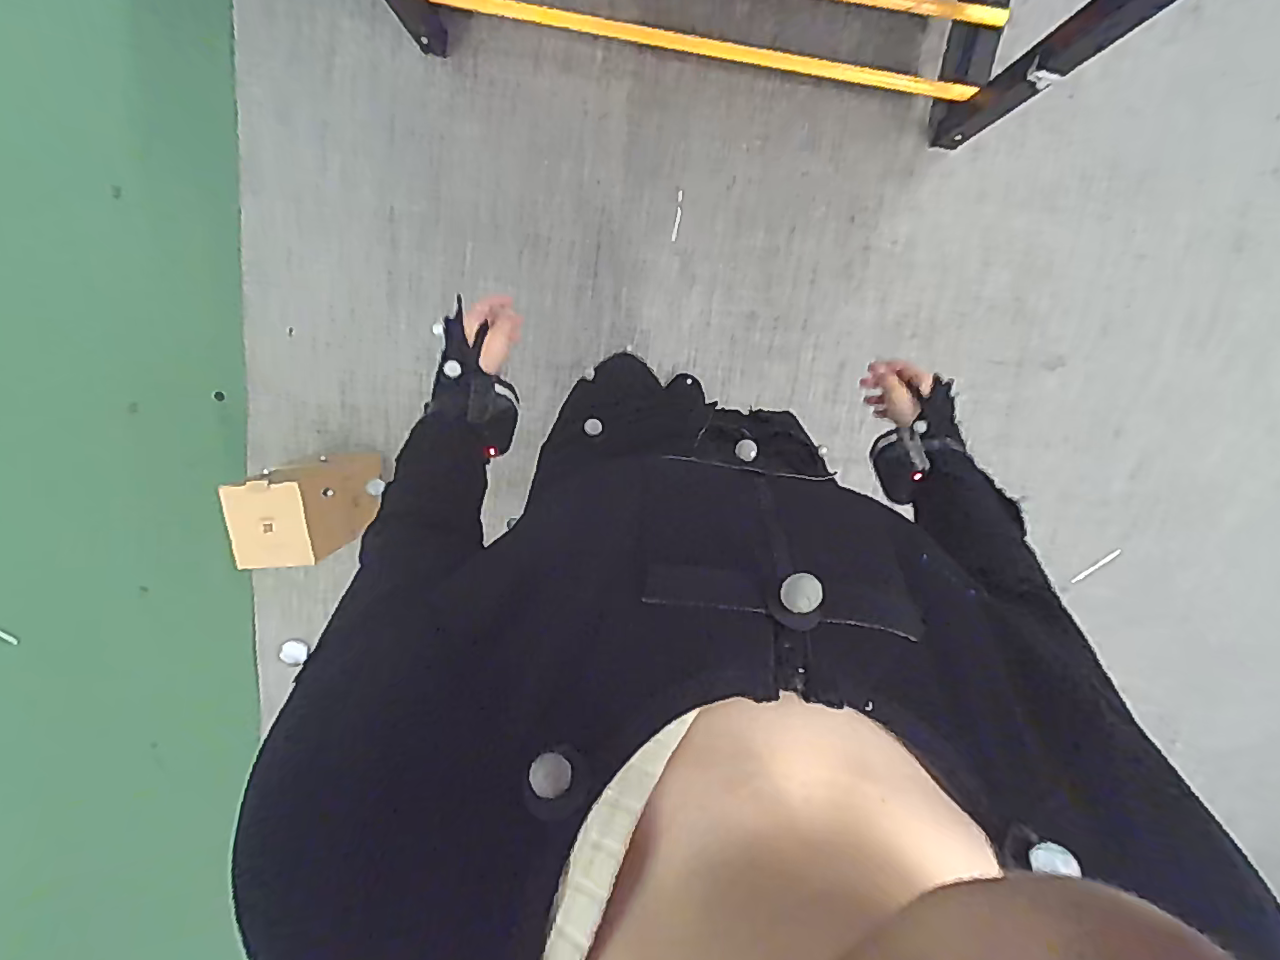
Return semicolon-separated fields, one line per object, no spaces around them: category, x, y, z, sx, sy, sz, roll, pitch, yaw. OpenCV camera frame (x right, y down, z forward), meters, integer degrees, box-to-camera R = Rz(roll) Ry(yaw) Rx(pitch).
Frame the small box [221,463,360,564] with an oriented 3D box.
small box;-0.727;0.063;1.145;0.168;0.176;0.179;-4;104;3

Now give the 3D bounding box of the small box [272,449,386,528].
small box;-0.734;0.019;1.301;0.179;0.176;0.168;-1;103;2
